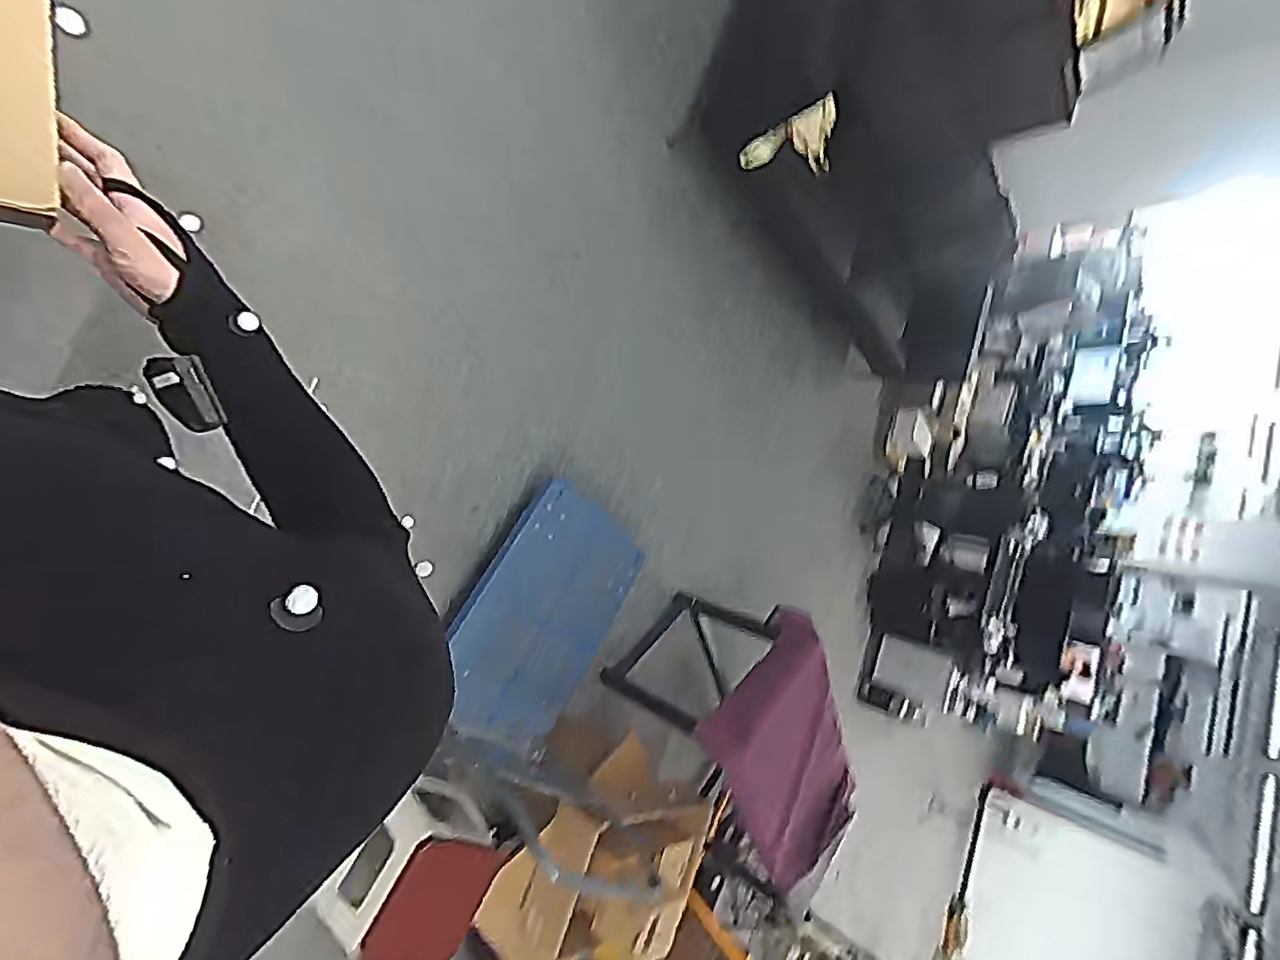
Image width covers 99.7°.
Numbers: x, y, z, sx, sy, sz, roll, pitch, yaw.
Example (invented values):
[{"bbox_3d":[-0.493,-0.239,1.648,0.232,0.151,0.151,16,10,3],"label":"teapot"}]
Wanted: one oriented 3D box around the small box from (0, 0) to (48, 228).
[{"bbox_3d":[-0.486,-0.268,0.324,0.168,0.176,0.179,-5,108,-48],"label":"small box"}]
